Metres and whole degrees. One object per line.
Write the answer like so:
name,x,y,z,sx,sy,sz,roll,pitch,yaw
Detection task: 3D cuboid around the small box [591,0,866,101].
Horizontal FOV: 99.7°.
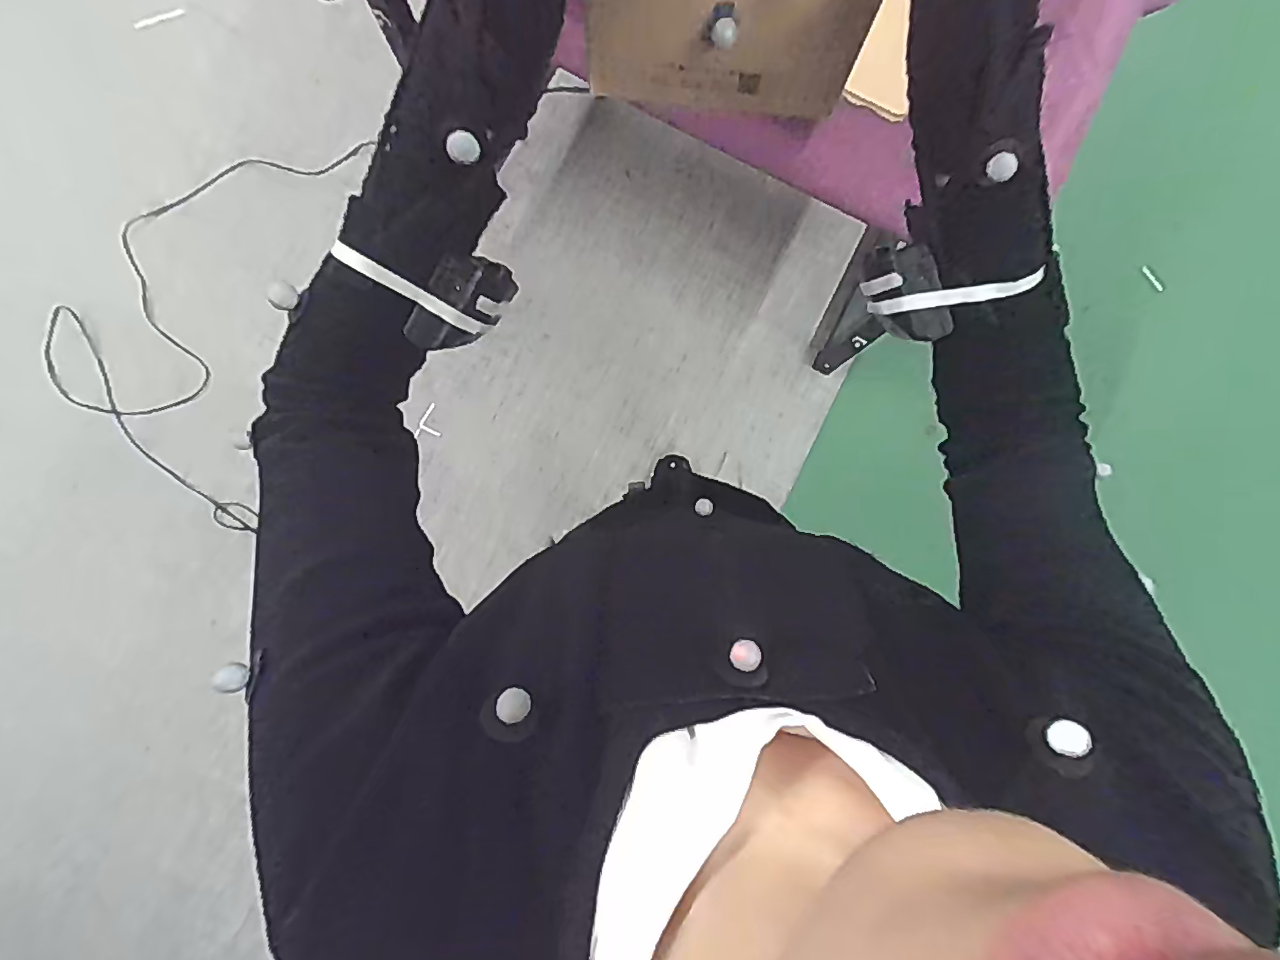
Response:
small box,0.057,-0.364,0.304,0.168,0.176,0.179,5,77,-1
